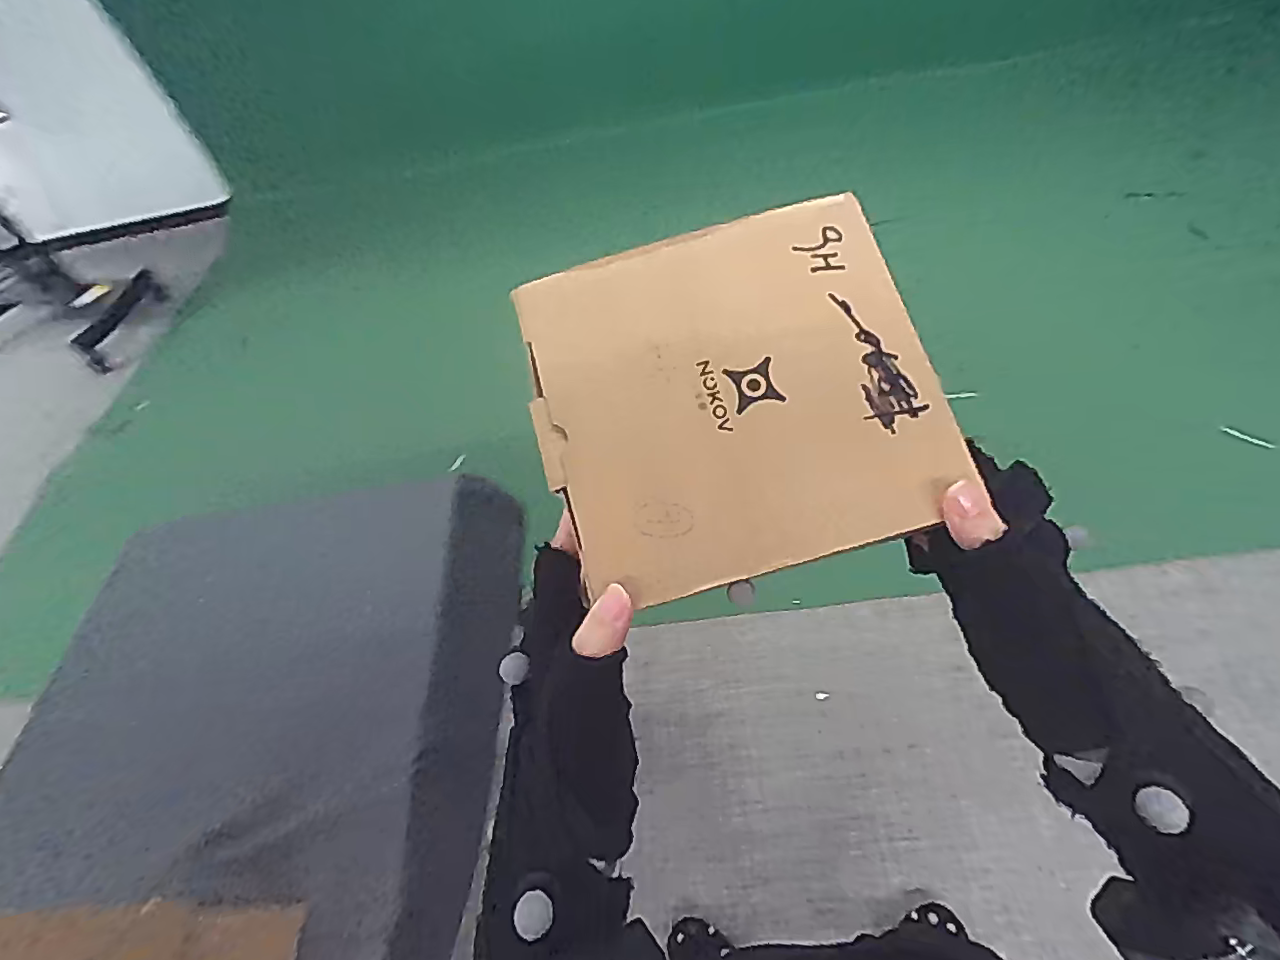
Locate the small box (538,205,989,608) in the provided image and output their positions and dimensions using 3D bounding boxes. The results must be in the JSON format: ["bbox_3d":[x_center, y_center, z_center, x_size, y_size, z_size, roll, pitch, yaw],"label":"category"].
[{"bbox_3d":[0.056,-0.023,0.336,0.179,0.176,0.168,-17,75,-2],"label":"small box"}]

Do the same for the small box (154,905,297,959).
[{"bbox_3d":[-0.460,0.498,0.490,0.179,0.176,0.168,-9,53,6],"label":"small box"}]
